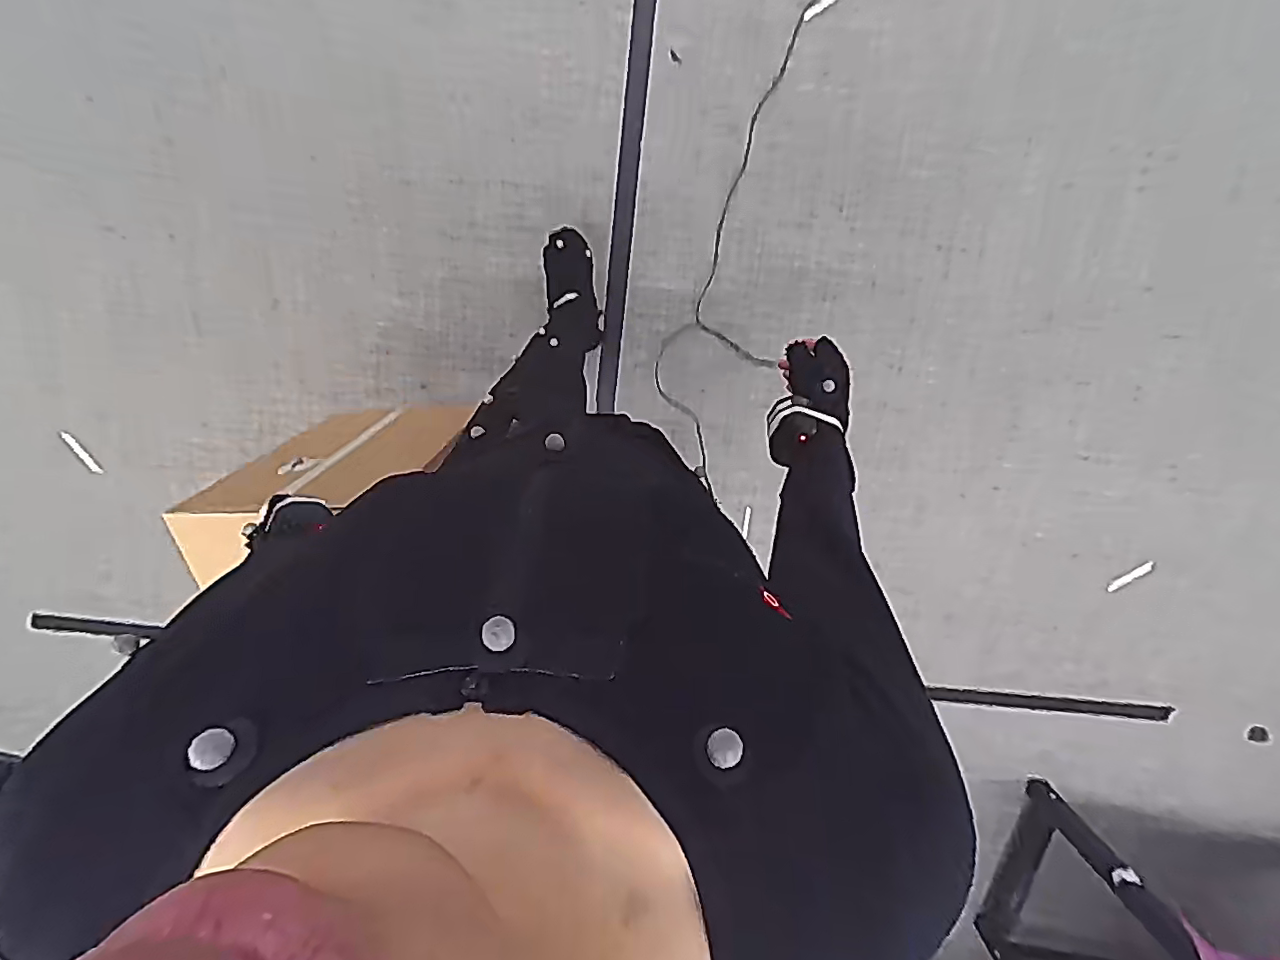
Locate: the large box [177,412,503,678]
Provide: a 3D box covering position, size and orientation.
[{"bbox_3d":[-0.467,0.092,0.968,0.320,0.408,0.320,-2,116,5],"label":"large box"}]
